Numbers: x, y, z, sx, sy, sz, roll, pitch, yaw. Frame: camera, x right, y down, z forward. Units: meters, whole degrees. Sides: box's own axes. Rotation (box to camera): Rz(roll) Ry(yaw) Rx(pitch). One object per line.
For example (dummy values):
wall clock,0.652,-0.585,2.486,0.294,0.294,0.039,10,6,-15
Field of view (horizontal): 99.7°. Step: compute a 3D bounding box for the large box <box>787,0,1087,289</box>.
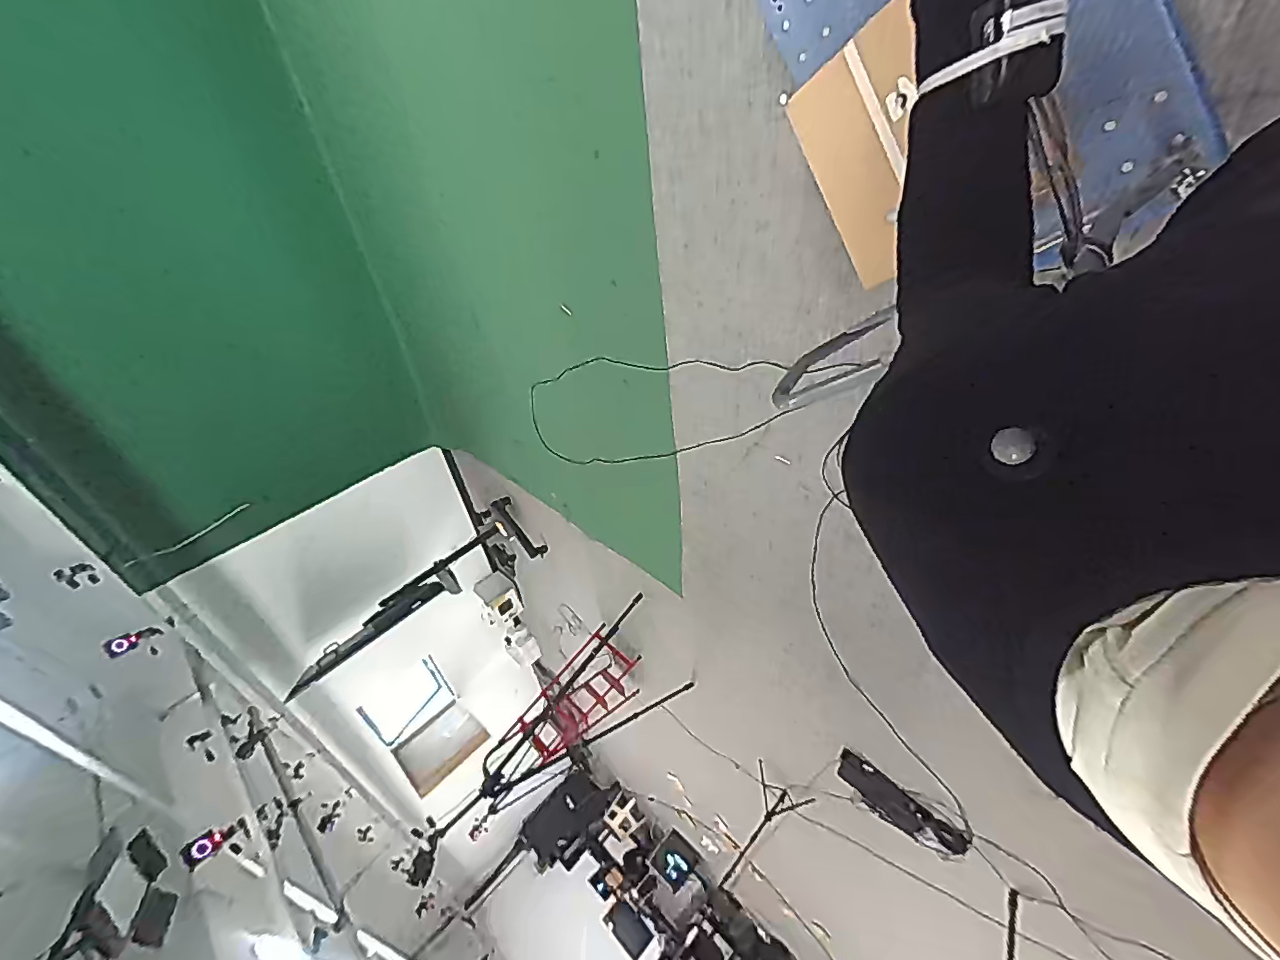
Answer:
large box,0.566,-0.654,1.036,0.320,0.320,0.408,-15,107,57
